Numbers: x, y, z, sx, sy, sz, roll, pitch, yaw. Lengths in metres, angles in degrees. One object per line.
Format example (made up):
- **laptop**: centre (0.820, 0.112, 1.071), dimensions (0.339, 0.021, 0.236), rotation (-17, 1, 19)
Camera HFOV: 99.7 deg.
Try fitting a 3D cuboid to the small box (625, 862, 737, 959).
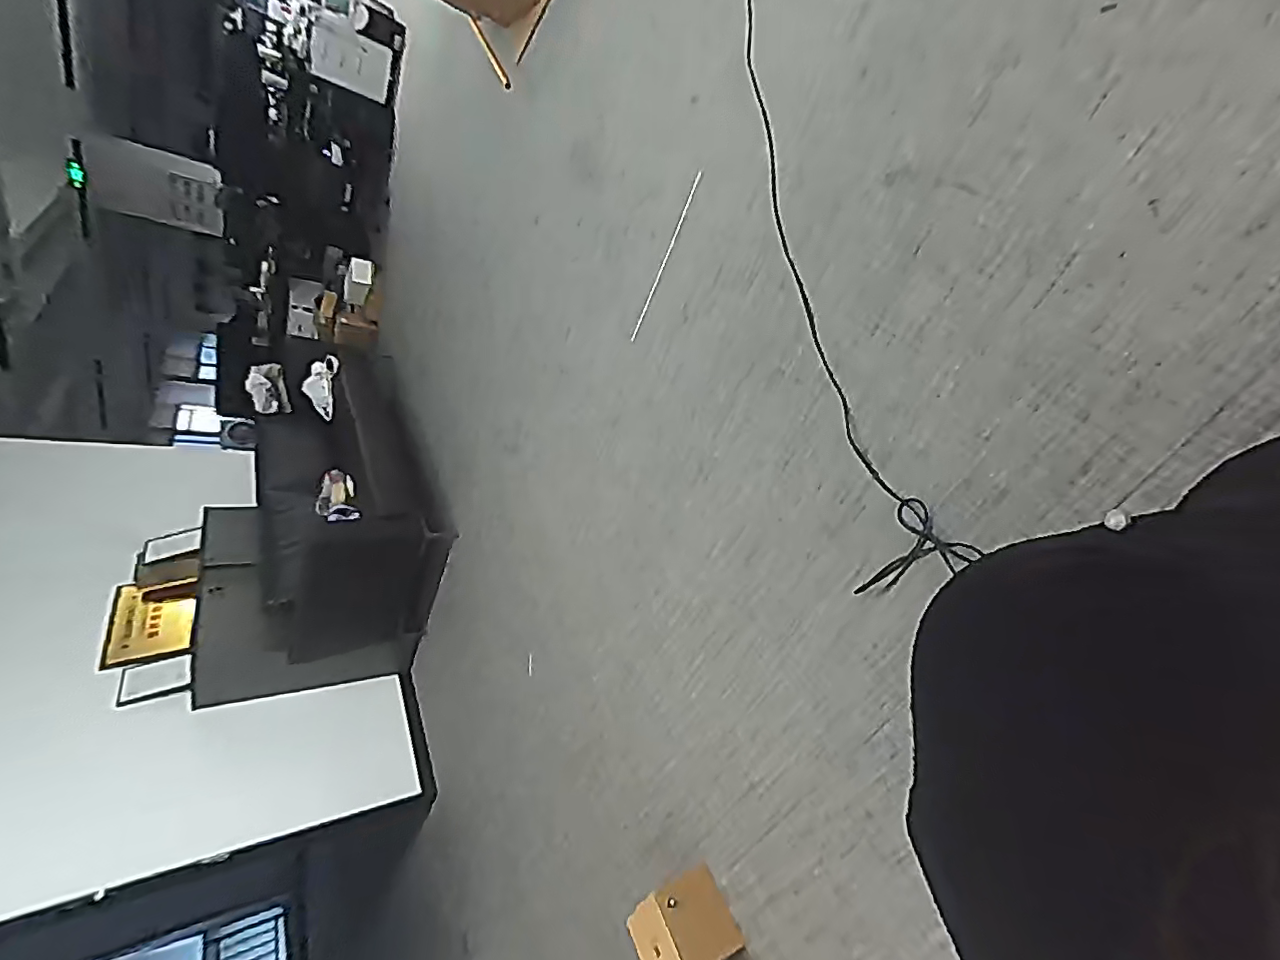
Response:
- **small box**: centre (0.096, 1.048, 1.269), dimensions (0.179, 0.176, 0.168), rotation (54, 129, 41)
